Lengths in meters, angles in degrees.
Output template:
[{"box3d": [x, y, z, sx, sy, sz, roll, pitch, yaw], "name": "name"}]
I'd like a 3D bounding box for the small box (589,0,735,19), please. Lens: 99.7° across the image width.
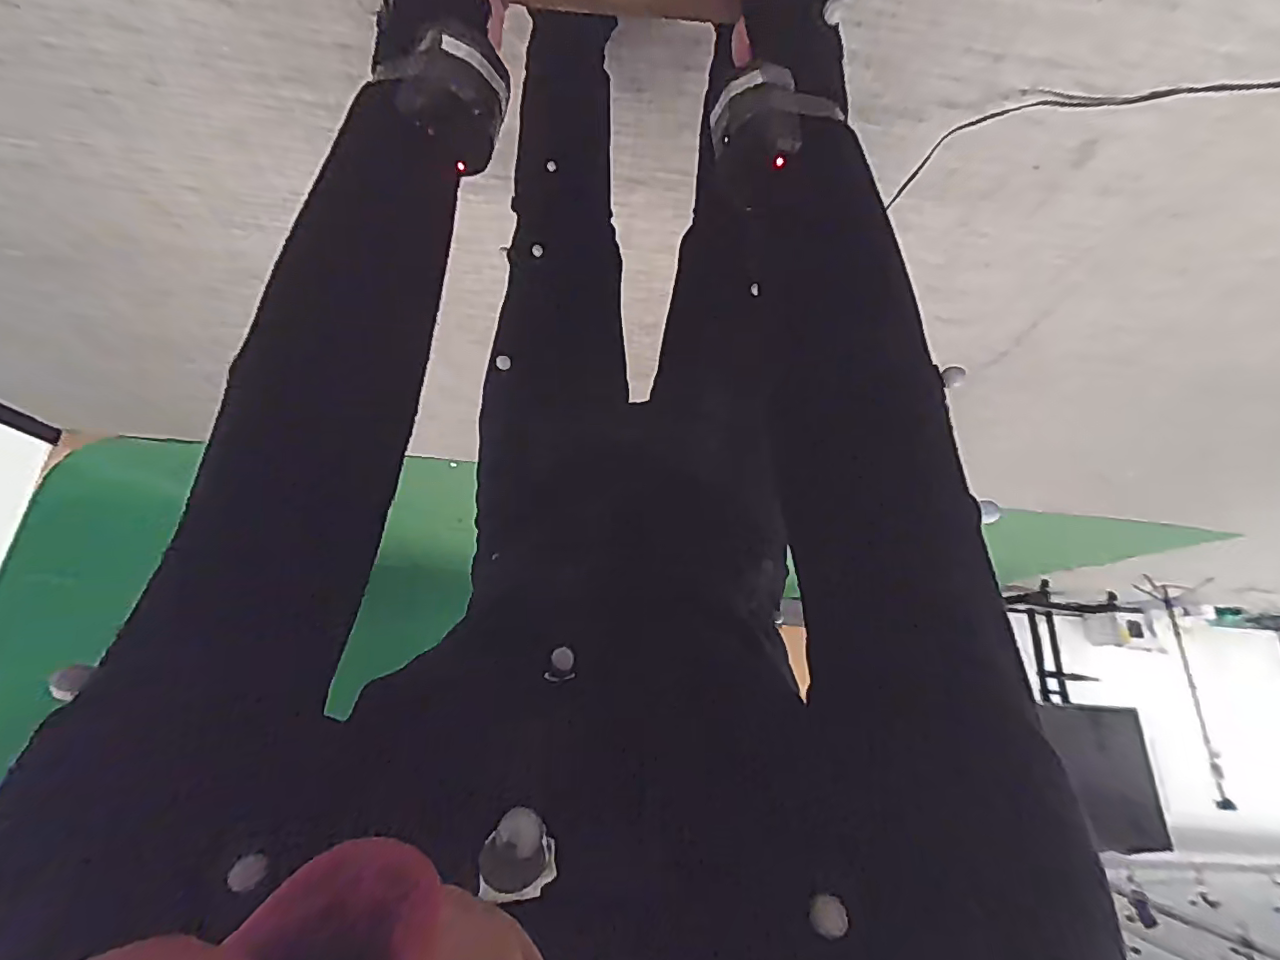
[{"box3d": [-0.008, -0.439, 0.329, 0.179, 0.176, 0.168, 5, 164, -3], "name": "small box"}]
